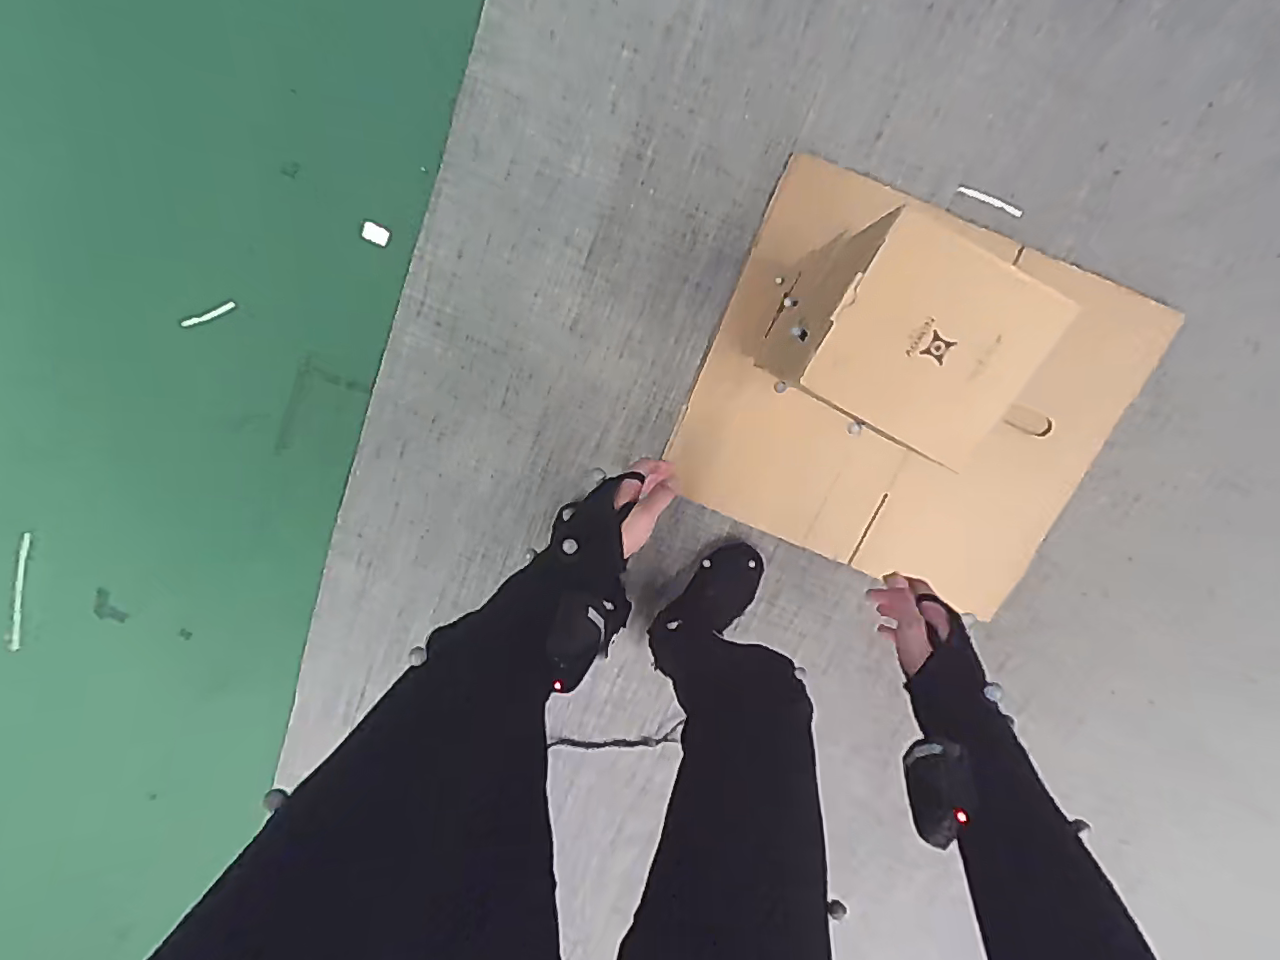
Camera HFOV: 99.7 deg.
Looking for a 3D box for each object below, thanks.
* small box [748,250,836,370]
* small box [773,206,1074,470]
[{"bbox_3d":[0.287,-0.233,0.850,0.179,0.176,0.168,26,105,-2],"label":"small box"},{"bbox_3d":[0.253,-0.135,0.539,0.179,0.176,0.168,29,106,-3],"label":"small box"}]
